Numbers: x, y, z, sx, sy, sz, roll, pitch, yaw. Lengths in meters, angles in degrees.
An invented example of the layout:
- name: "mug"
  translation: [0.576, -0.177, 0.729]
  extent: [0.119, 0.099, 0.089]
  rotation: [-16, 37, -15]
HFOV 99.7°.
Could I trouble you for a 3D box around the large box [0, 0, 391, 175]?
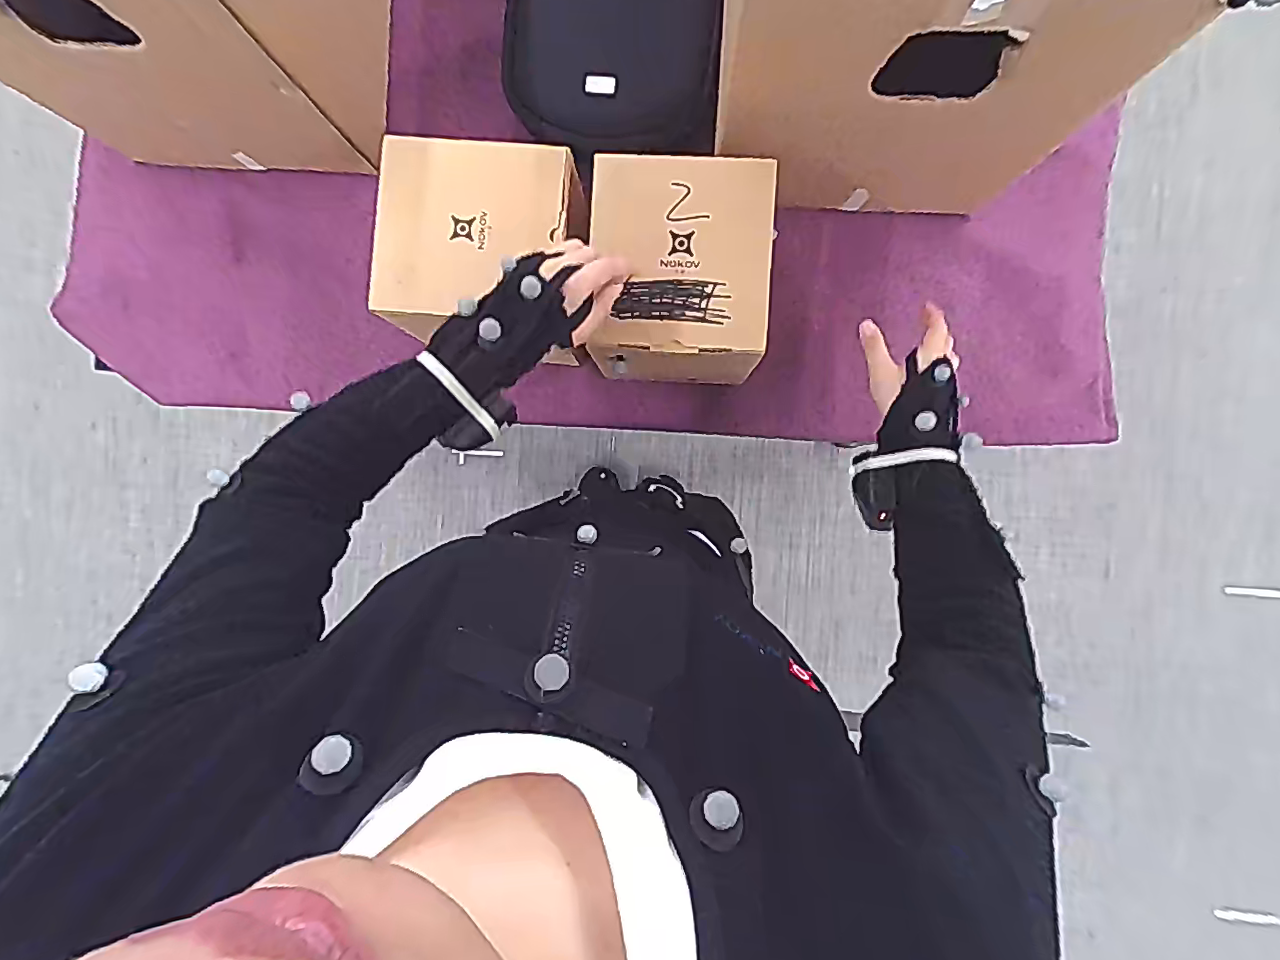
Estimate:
- name: "large box"
  translation: [-0.455, -0.575, 0.515]
  extent: [0.320, 0.320, 0.408]
  rotation: [2, 93, 1]
